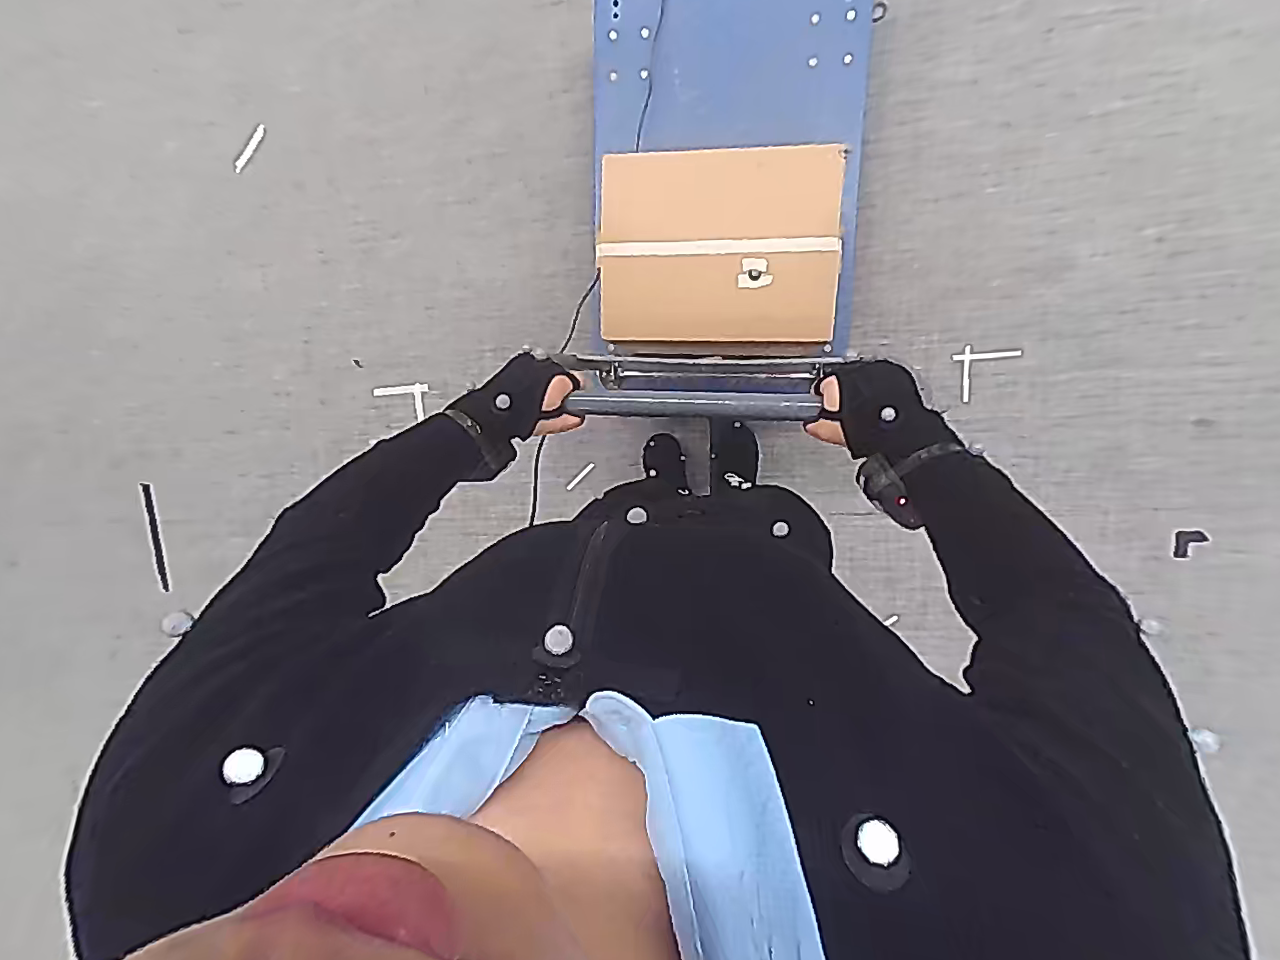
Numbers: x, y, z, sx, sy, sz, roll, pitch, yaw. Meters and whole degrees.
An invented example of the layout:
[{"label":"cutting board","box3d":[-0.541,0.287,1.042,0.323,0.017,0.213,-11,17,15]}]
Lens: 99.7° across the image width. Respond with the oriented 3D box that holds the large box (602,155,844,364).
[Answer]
[{"label":"large box","box3d":[0.149,-0.396,1.058,0.408,0.320,0.320,2,99,7]}]
